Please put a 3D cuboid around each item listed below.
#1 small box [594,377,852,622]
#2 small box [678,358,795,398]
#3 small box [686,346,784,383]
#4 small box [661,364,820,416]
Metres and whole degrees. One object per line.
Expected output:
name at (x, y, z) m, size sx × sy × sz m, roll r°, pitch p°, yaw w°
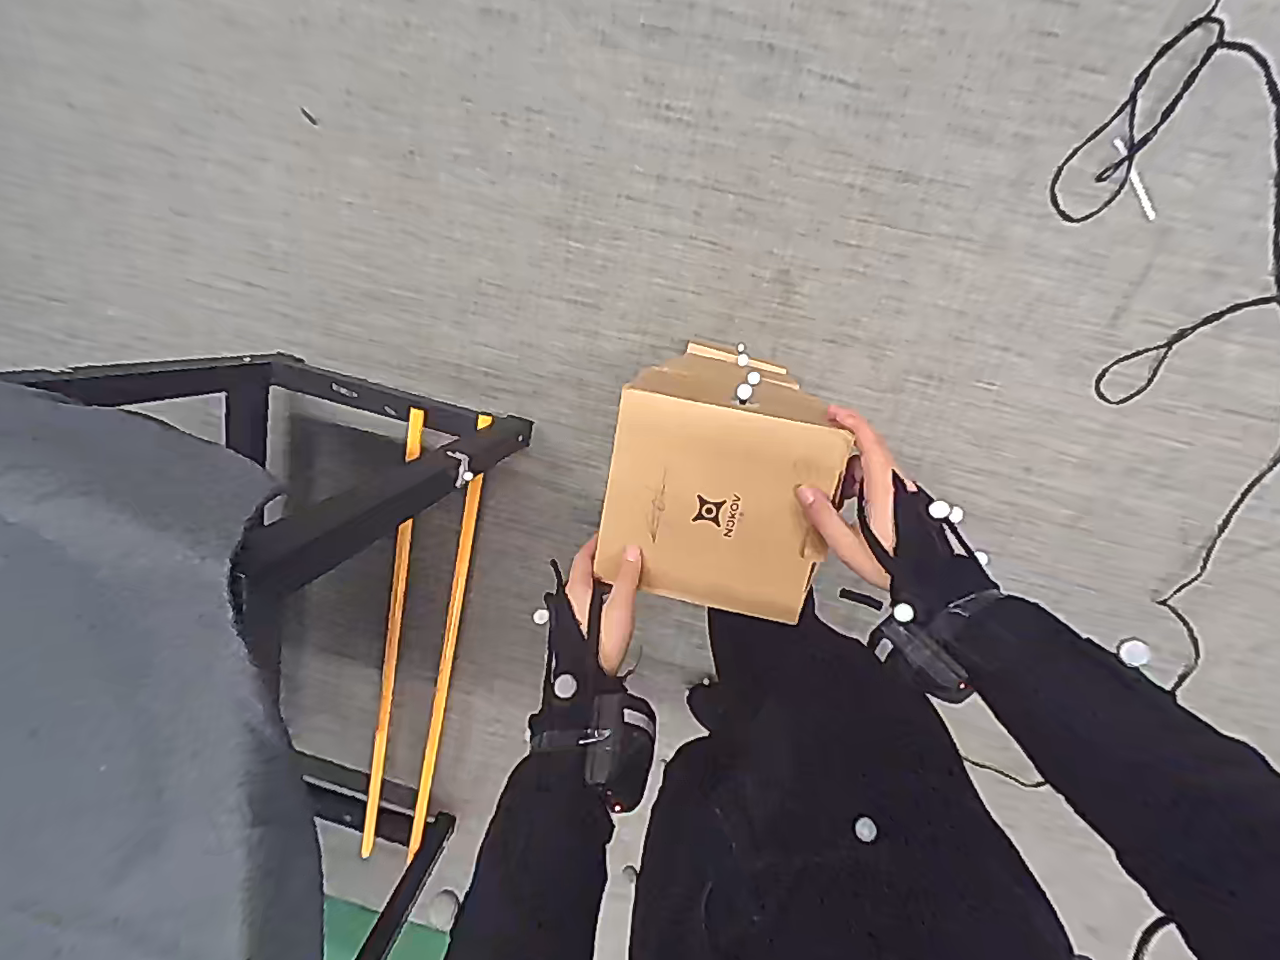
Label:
small box at (0.070, 0.003, 0.502) m, size 0.179 × 0.176 × 0.168 m, roll 12°, pitch 106°, yaw 5°
small box at (0.123, -0.081, 0.825) m, size 0.168 × 0.176 × 0.179 m, roll 14°, pitch 106°, yaw 4°
small box at (0.145, -0.137, 0.978) m, size 0.168 × 0.176 × 0.179 m, roll 17°, pitch 107°, yaw 4°
small box at (0.096, -0.042, 0.667) m, size 0.179 × 0.176 × 0.168 m, roll 16°, pitch 106°, yaw 2°
